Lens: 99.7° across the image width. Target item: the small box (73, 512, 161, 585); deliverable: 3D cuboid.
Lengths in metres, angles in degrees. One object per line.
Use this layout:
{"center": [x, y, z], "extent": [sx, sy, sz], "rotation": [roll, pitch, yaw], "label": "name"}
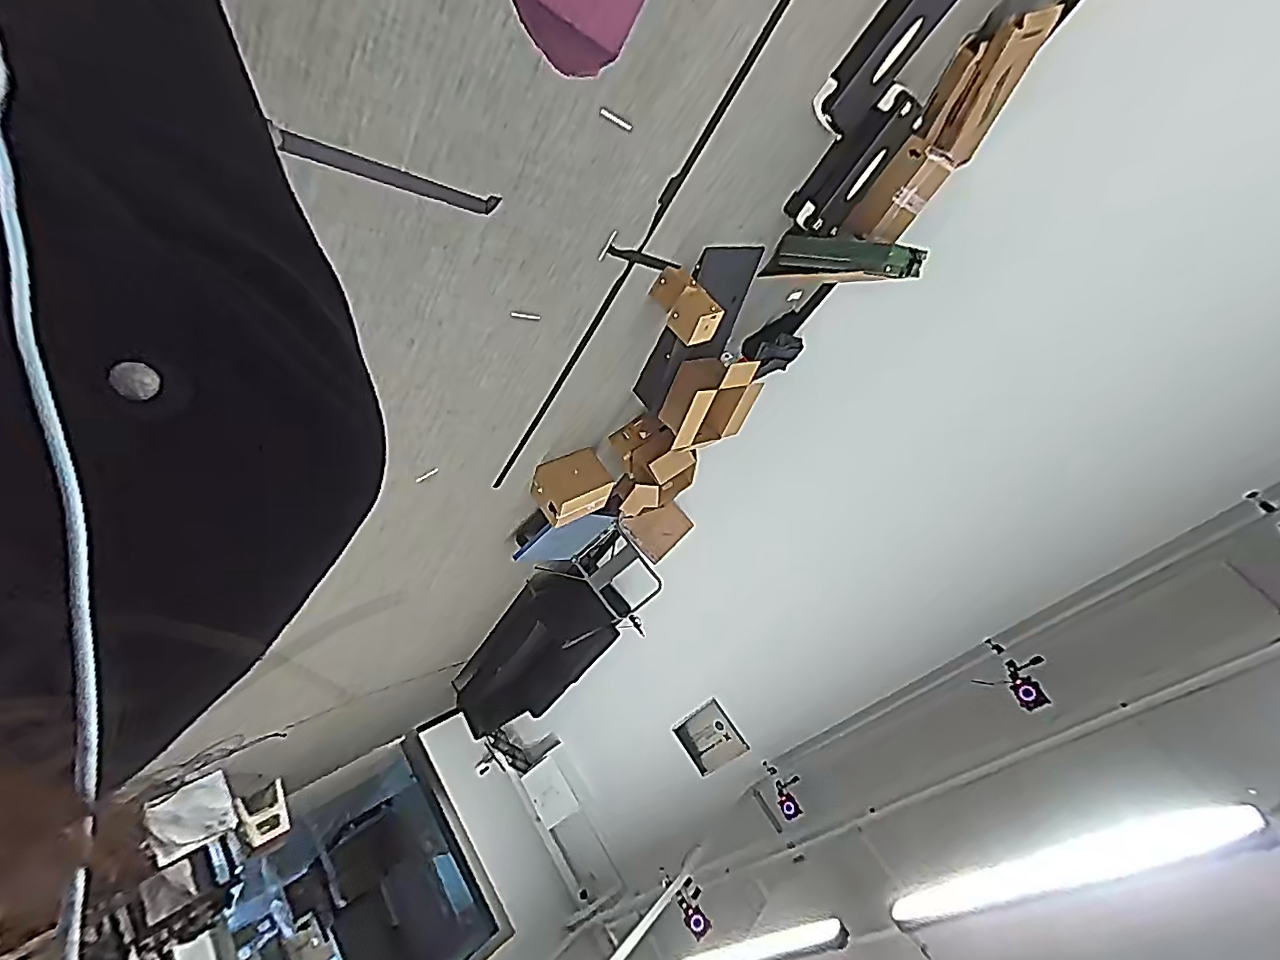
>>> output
{"center": [-1.788, 0.227, 1.844], "extent": [0.168, 0.176, 0.179], "rotation": [-48, 159, 26], "label": "small box"}
